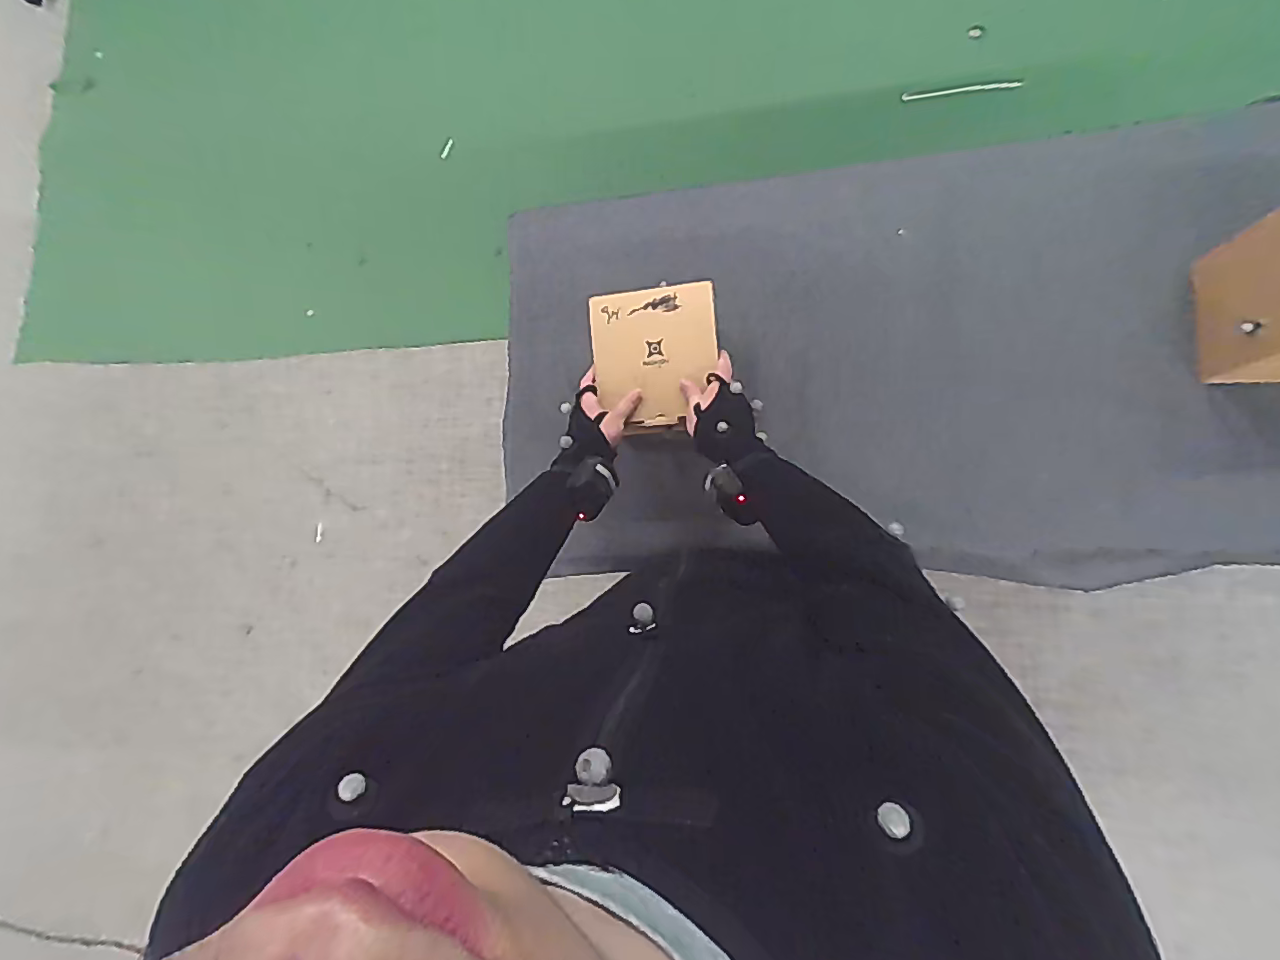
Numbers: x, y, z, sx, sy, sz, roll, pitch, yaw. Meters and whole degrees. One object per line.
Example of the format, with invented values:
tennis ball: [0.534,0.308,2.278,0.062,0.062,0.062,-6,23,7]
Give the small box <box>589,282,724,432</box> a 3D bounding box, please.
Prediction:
small box: [0.033,-0.163,0.780,0.168,0.176,0.179,-5,90,9]

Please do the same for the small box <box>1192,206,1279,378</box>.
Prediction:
small box: [0.828,-0.226,0.649,0.168,0.176,0.179,0,82,10]
